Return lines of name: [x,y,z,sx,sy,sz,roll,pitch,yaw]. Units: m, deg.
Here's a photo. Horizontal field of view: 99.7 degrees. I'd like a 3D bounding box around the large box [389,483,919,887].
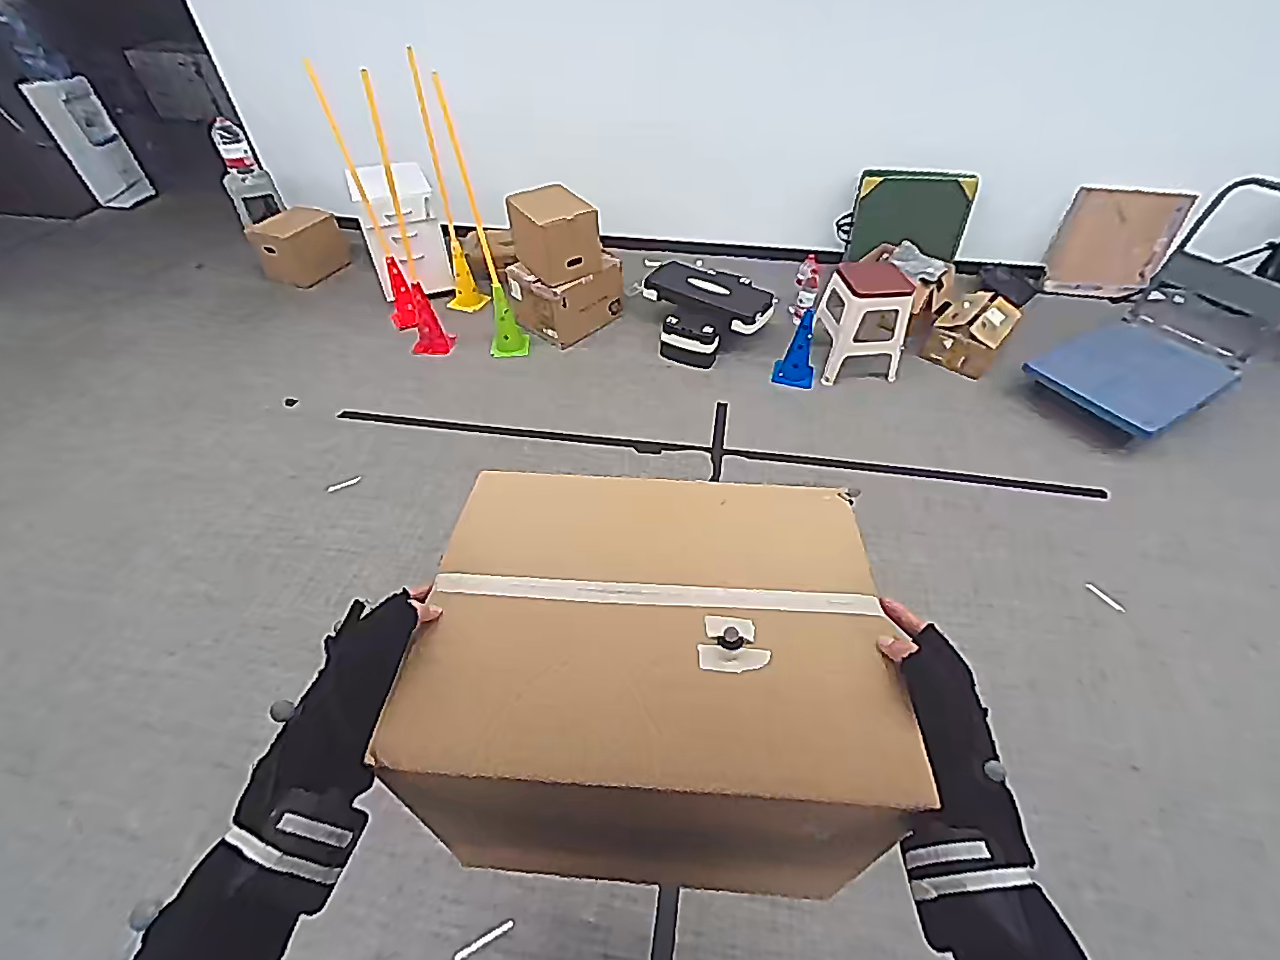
large box: [0.013,0.224,0.606,0.408,0.320,0.320,3,44,3]
